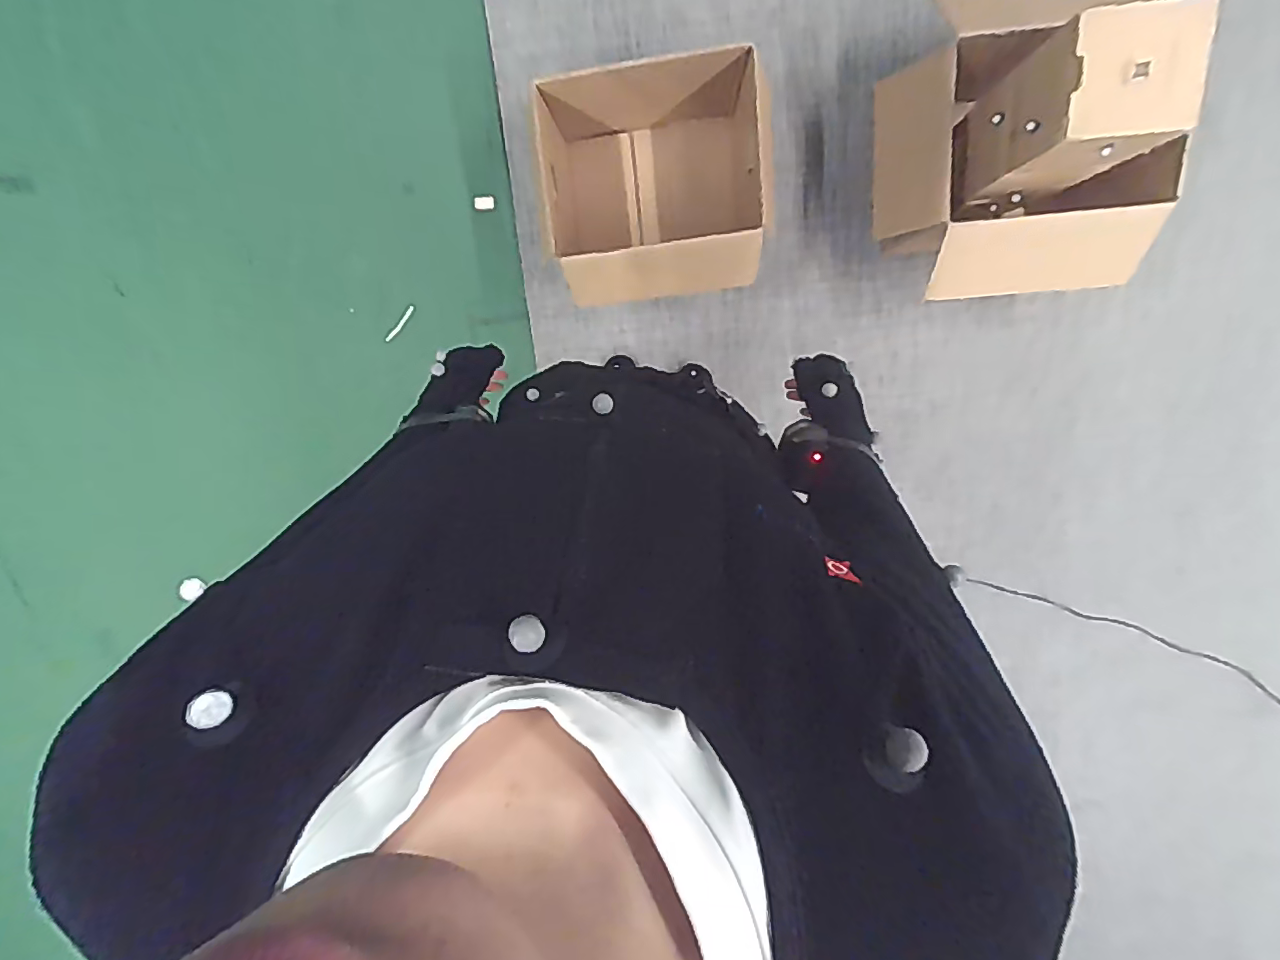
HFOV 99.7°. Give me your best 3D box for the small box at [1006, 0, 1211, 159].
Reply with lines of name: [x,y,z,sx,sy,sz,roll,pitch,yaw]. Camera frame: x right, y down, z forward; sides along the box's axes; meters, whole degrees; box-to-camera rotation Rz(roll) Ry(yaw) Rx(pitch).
small box: [0.706,-0.619,0.838,0.179,0.176,0.168,-3,105,6]
